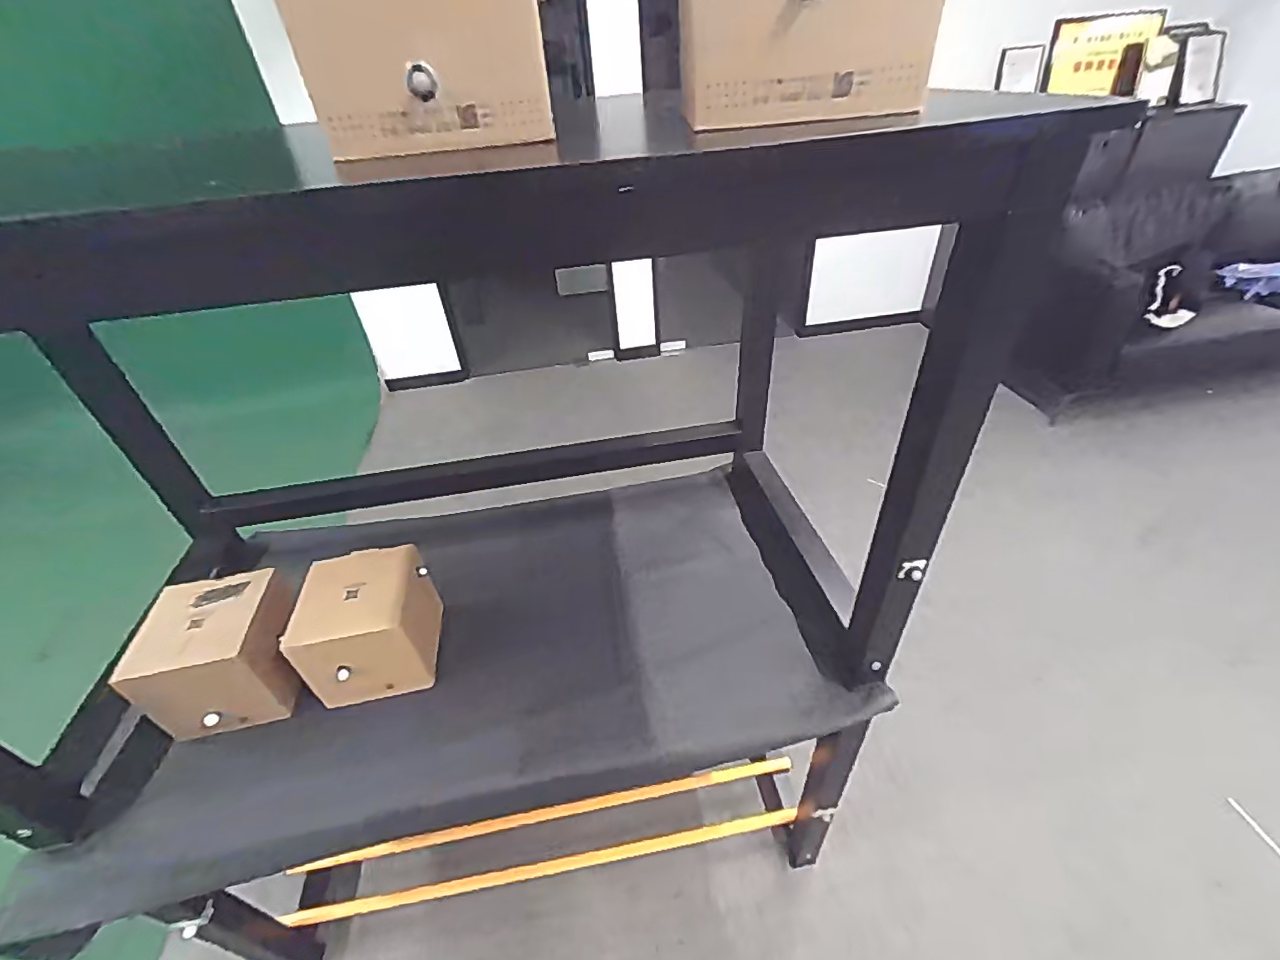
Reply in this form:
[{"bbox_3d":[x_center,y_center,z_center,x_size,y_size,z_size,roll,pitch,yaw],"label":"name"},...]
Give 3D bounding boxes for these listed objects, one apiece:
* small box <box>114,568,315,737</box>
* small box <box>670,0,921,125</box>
[{"bbox_3d":[-0.649,0.271,0.858,0.168,0.176,0.179,-10,39,-7],"label":"small box"},{"bbox_3d":[0.107,-0.377,0.409,0.168,0.176,0.179,-3,38,3],"label":"small box"}]
